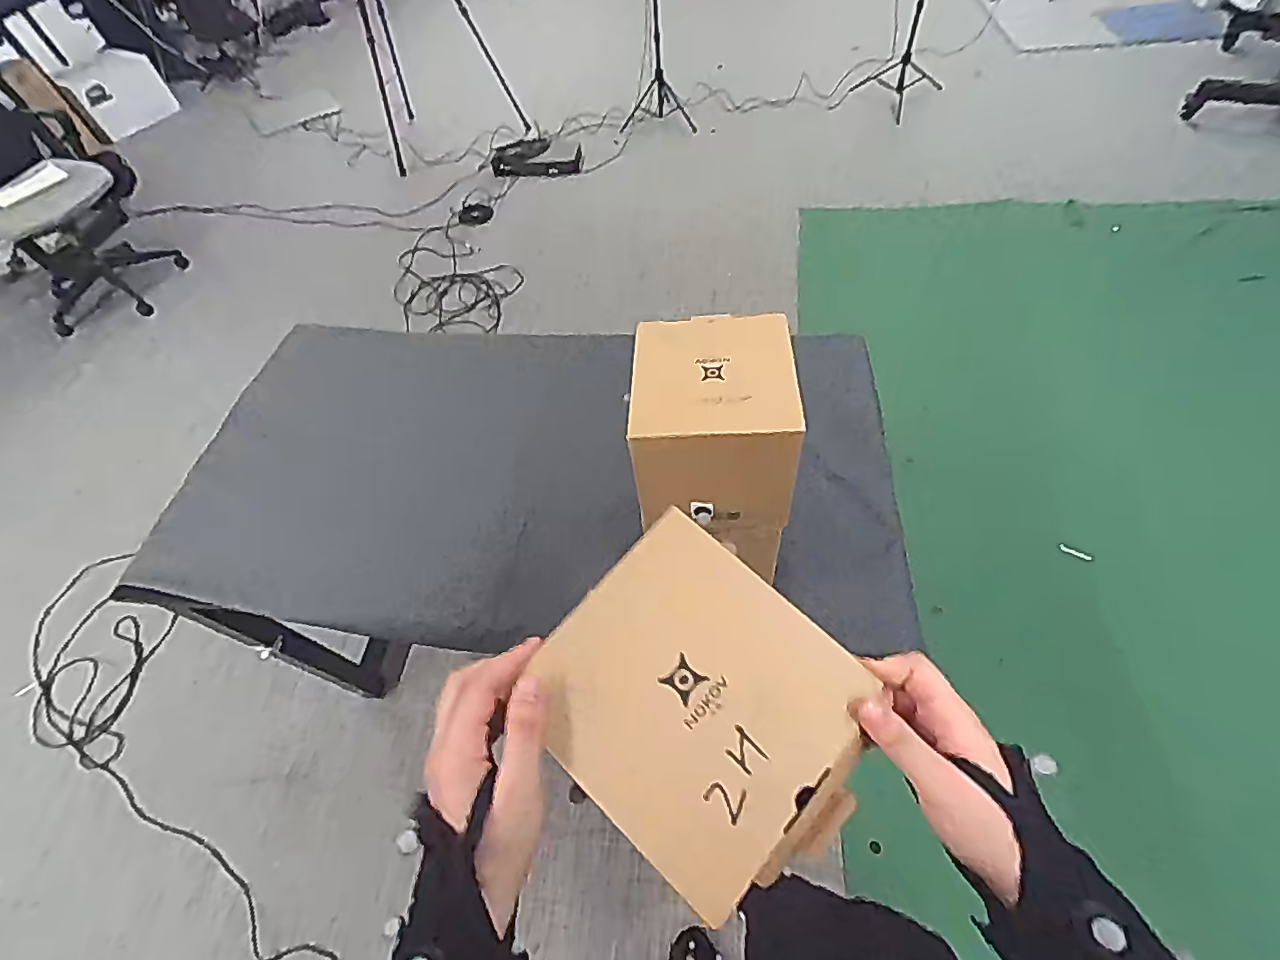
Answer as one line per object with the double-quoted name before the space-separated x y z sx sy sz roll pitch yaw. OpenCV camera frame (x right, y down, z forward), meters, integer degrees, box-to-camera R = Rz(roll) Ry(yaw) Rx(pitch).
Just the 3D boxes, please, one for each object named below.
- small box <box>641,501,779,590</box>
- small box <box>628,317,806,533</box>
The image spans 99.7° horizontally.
"small box" 0.100 0.035 0.738 0.168 0.176 0.179 2 53 9
"small box" 0.083 -0.058 0.606 0.168 0.176 0.179 -2 54 8
